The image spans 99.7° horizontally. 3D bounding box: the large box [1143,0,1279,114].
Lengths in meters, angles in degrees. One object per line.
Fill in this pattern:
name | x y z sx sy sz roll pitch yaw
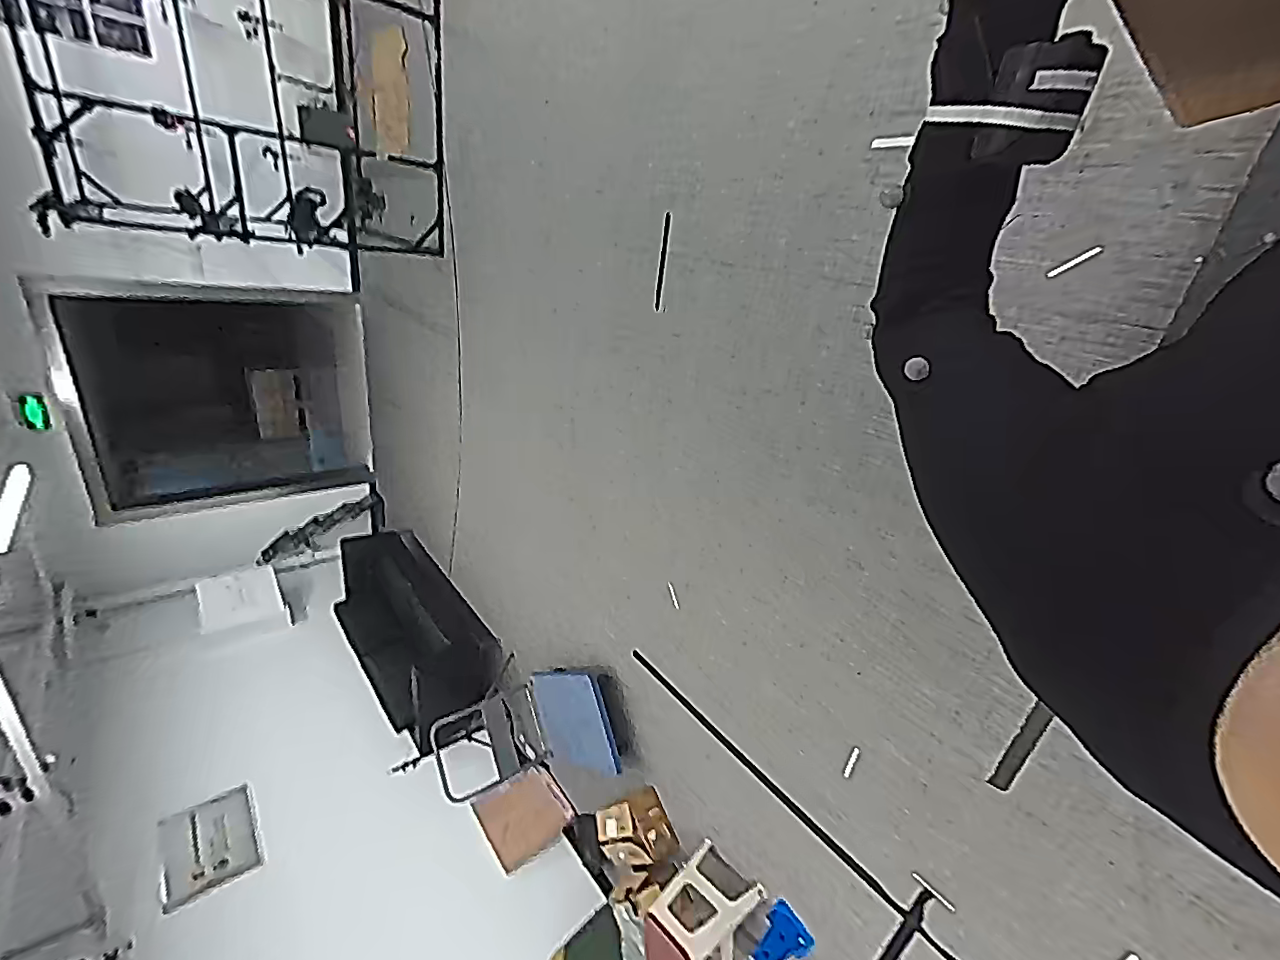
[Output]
large box | 0.496 -0.429 0.215 0.408 0.320 0.320 11 107 48
